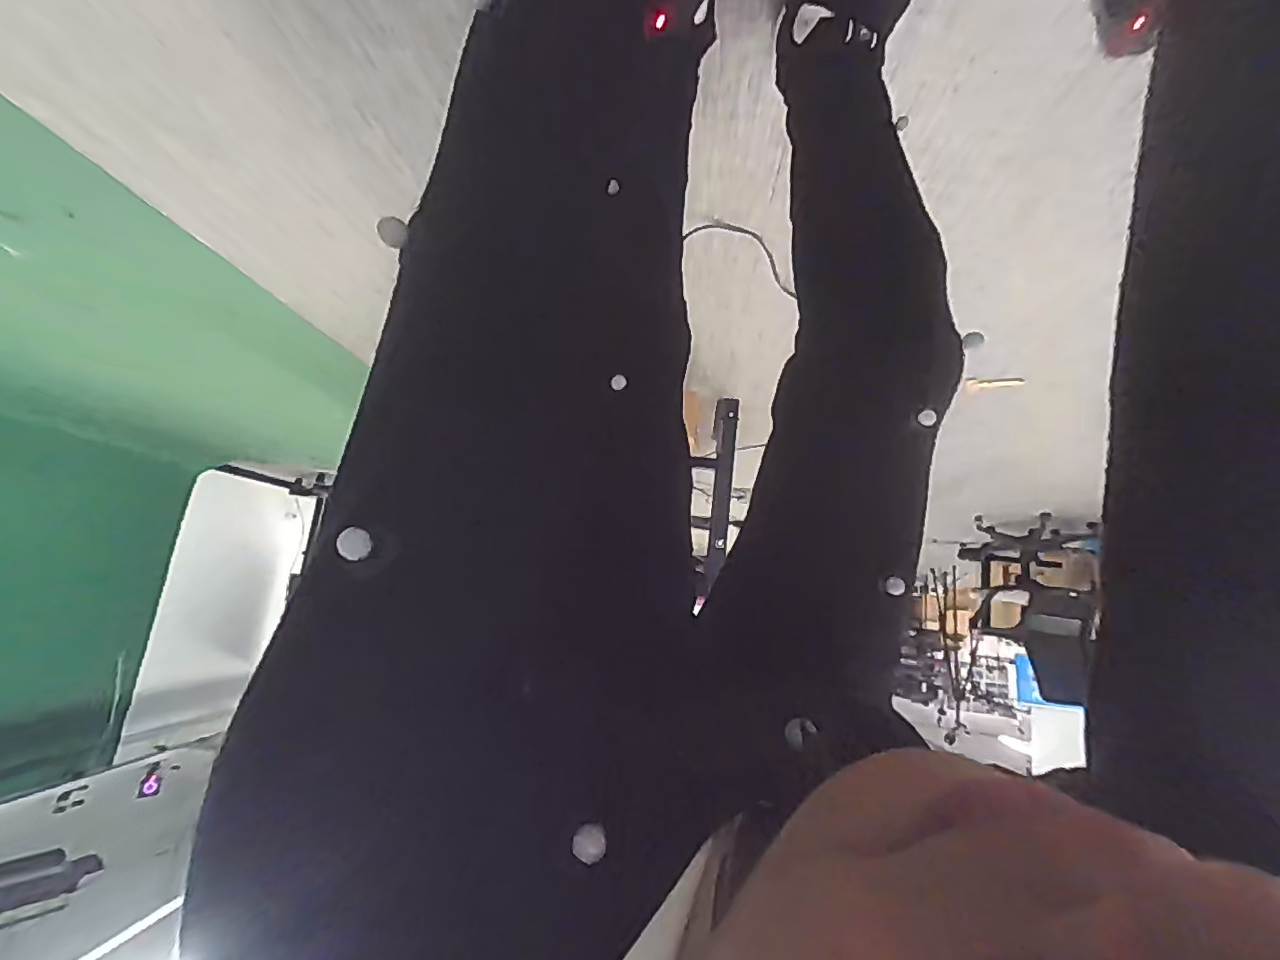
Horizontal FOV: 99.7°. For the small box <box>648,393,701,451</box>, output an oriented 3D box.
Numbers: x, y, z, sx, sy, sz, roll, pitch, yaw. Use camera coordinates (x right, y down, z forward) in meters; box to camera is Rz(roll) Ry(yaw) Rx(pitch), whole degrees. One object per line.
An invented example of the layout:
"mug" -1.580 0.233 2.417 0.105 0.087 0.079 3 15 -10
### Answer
"small box" 0.131 -0.211 1.985 0.168 0.176 0.179 4 168 13
